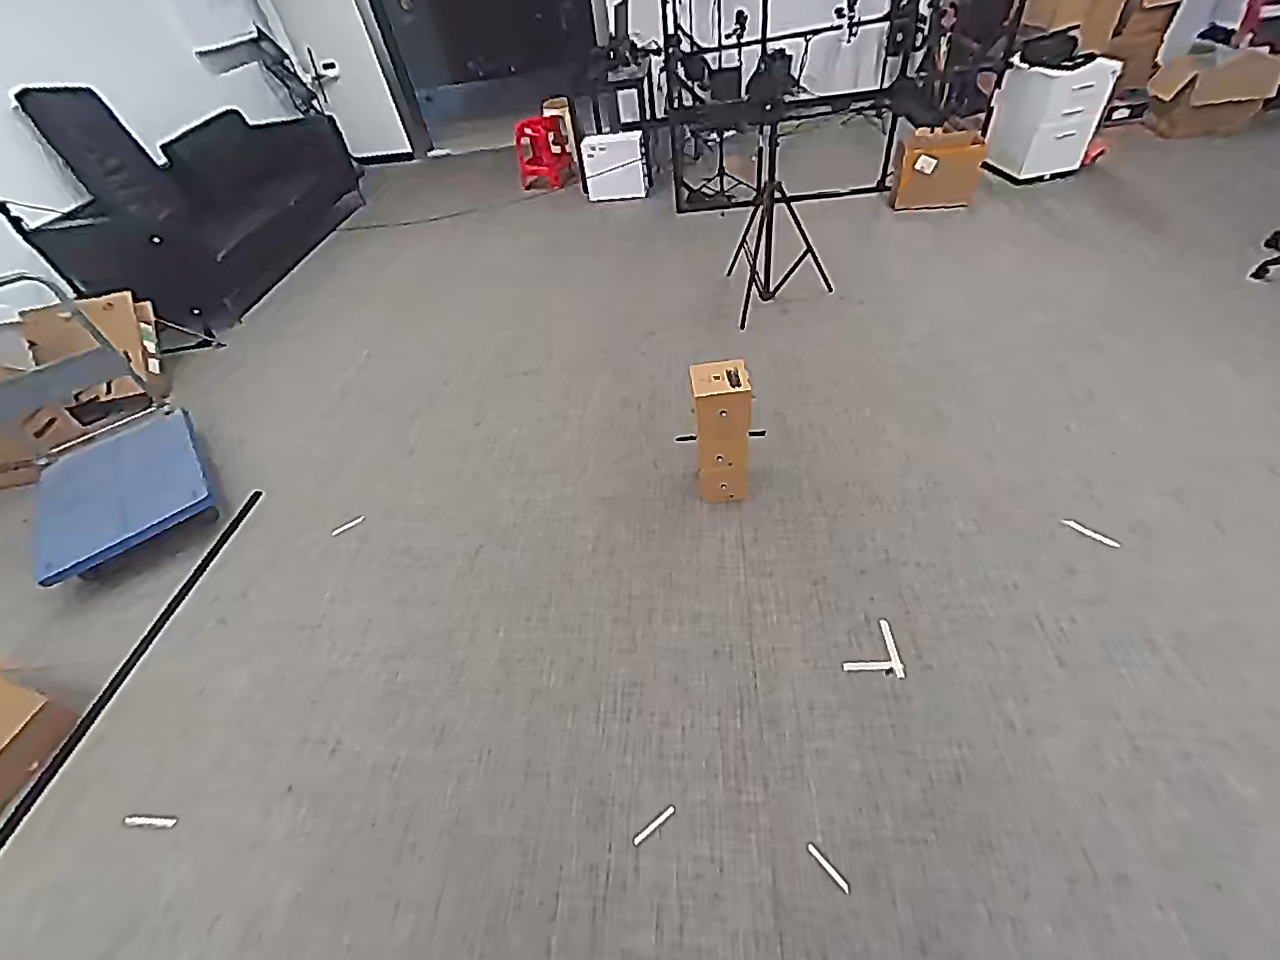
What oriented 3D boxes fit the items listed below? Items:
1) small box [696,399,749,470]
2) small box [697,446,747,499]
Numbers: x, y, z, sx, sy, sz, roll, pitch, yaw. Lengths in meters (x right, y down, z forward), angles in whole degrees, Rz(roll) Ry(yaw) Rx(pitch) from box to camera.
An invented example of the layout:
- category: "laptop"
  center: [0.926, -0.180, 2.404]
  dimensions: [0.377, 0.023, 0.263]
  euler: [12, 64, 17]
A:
- category: "small box"
  center: [0.279, -0.155, 1.861]
  dimensions: [0.168, 0.176, 0.179]
  euler: [-5, 46, 6]
- category: "small box"
  center: [0.301, -0.042, 1.976]
  dimensions: [0.168, 0.176, 0.179]
  euler: [-5, 45, 5]
